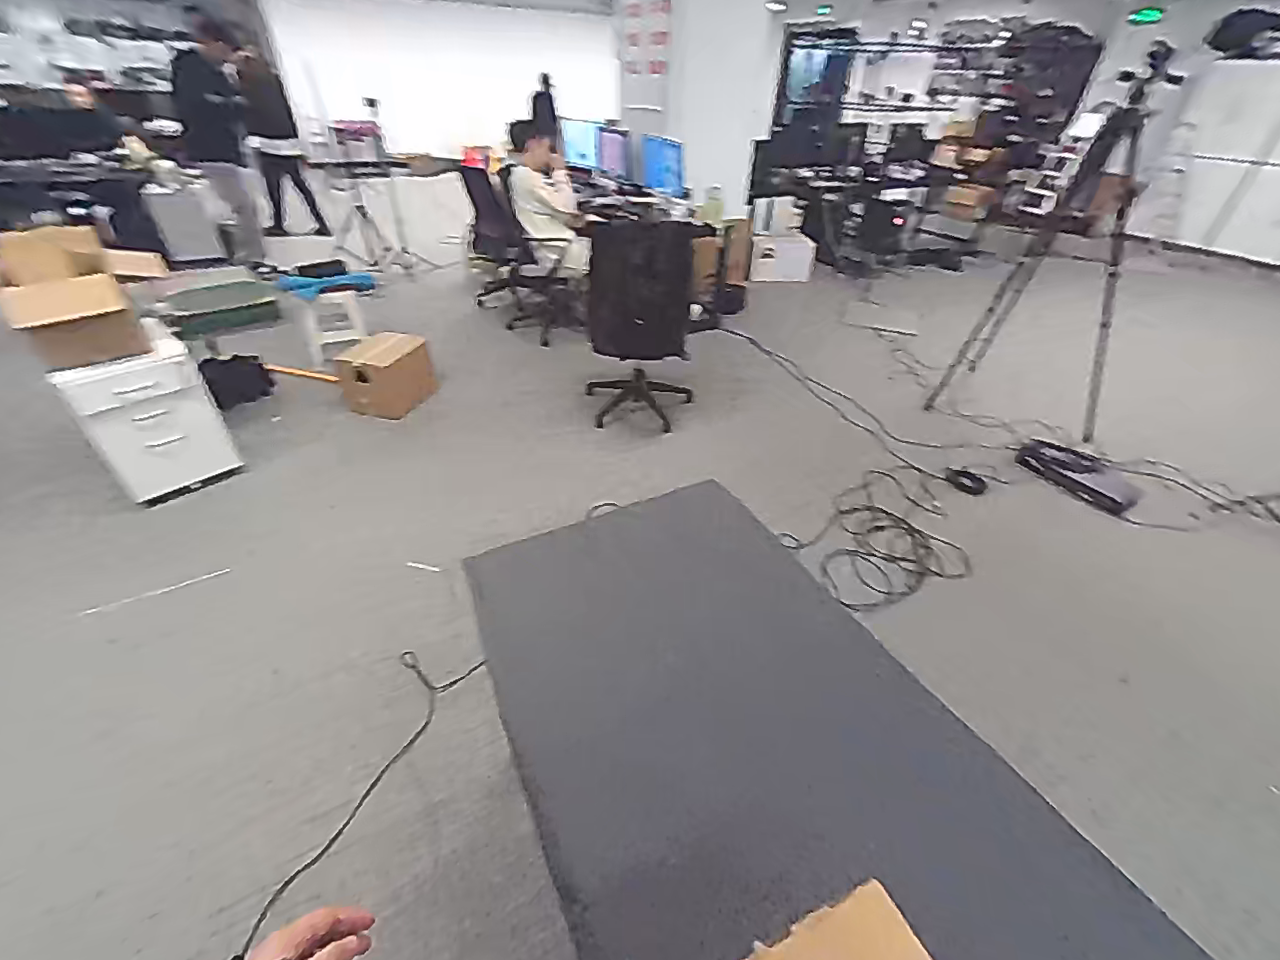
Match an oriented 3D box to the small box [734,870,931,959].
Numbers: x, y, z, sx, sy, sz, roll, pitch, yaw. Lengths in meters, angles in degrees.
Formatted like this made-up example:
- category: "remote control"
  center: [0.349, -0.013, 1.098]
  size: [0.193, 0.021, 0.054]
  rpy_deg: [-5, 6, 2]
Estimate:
- category: "small box"
  center: [0.185, 0.515, 0.495]
  size: [0.168, 0.176, 0.179]
  rpy_deg: [-14, 41, -21]
